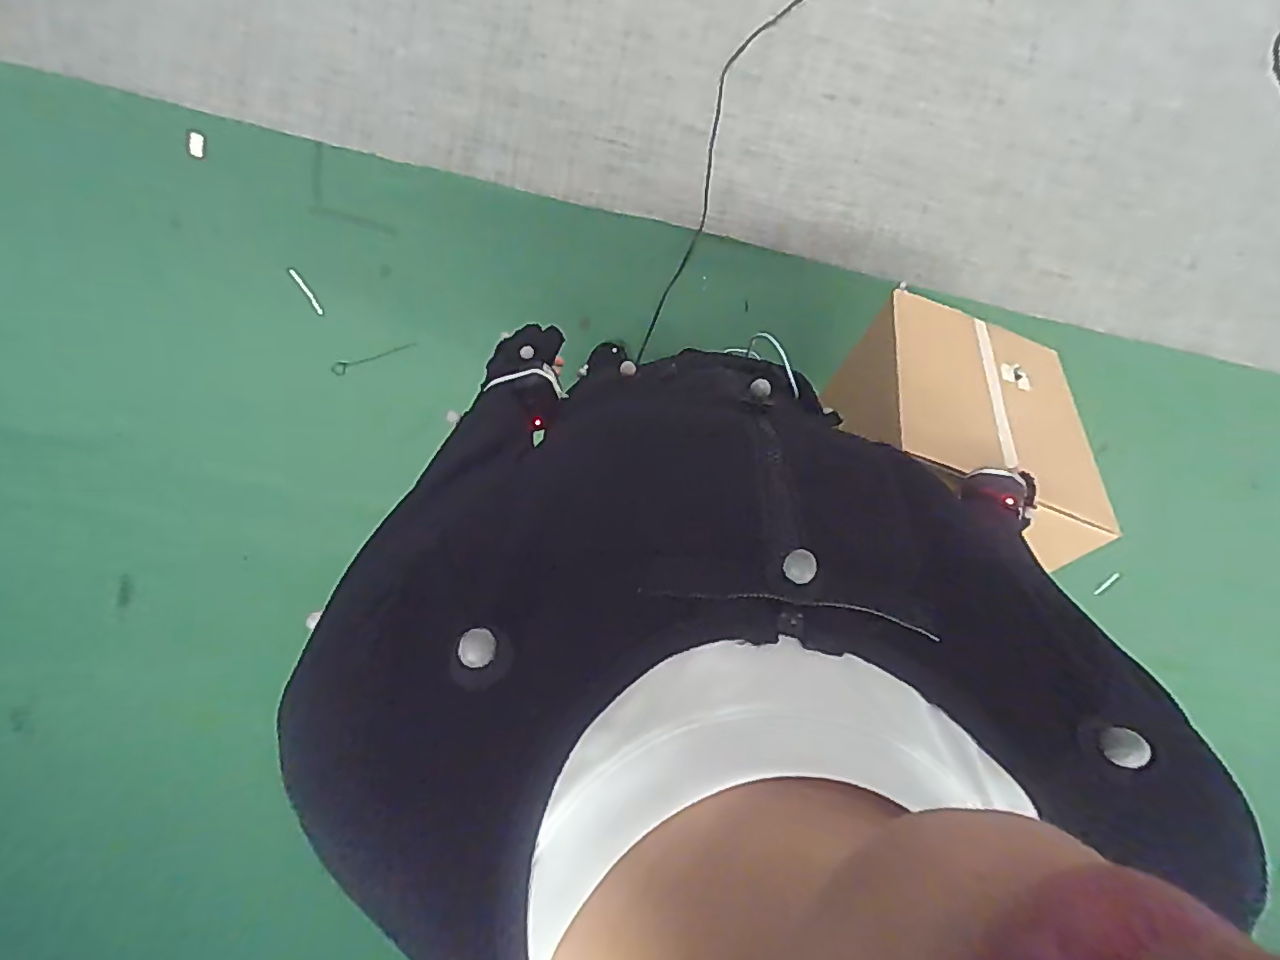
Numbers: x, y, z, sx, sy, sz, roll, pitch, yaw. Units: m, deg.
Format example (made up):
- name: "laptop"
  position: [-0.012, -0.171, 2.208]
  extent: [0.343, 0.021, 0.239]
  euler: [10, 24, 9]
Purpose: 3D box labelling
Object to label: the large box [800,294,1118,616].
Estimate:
- name: "large box"
  position: [0.496, -0.040, 0.938]
  extent: [0.320, 0.408, 0.320]
  euler: [21, 141, -2]
